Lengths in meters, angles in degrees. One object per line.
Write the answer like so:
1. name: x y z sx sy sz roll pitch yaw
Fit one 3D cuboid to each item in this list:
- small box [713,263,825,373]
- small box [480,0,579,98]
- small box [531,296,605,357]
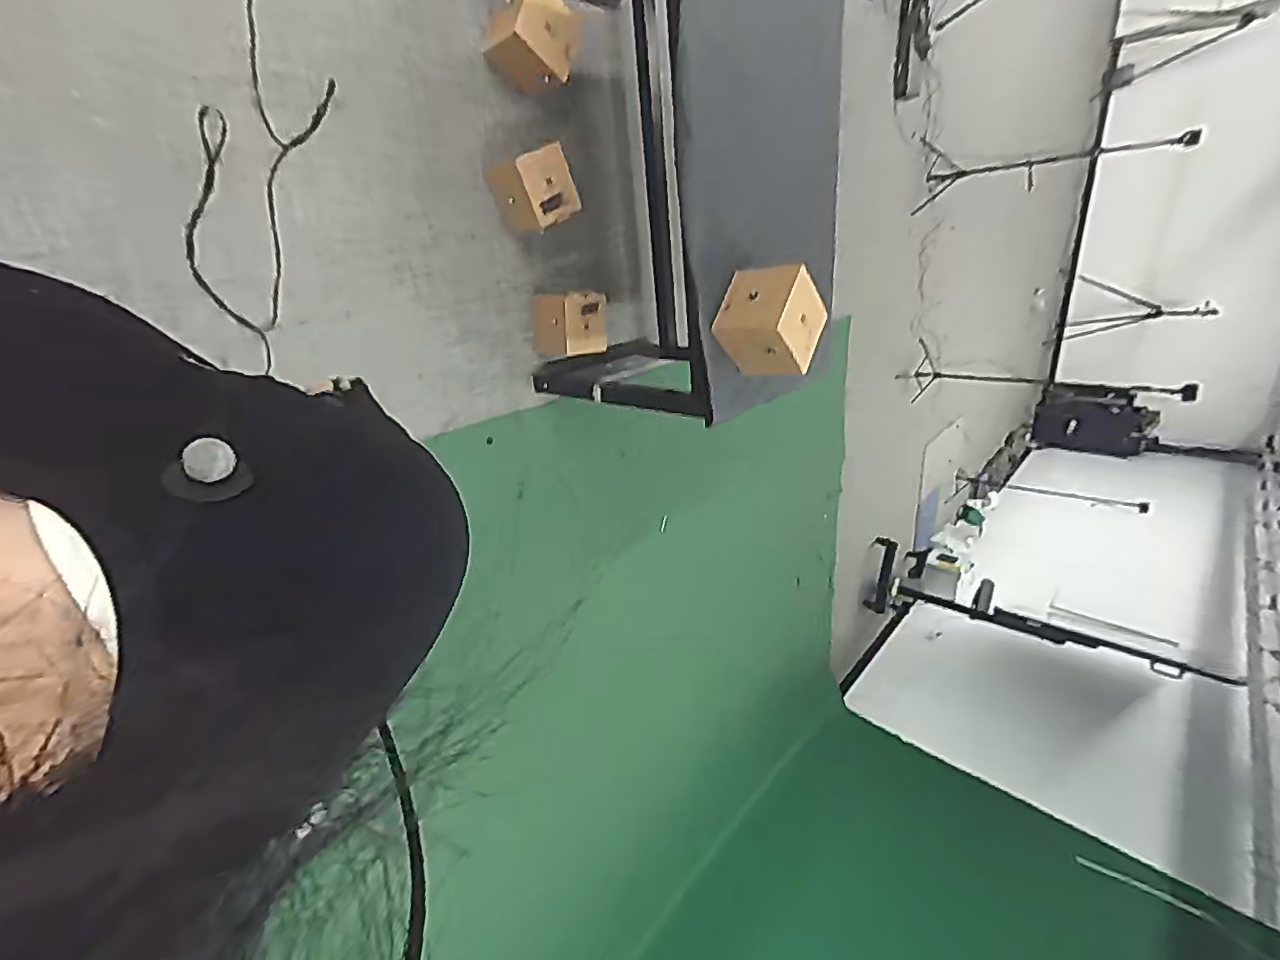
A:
1. small box: 0.290 -0.356 1.221 0.179 0.176 0.168 38 71 -46
2. small box: -0.300 -1.172 1.447 0.179 0.176 0.168 19 87 -48
3. small box: -0.230 -0.491 1.718 0.168 0.176 0.179 -20 116 -42
